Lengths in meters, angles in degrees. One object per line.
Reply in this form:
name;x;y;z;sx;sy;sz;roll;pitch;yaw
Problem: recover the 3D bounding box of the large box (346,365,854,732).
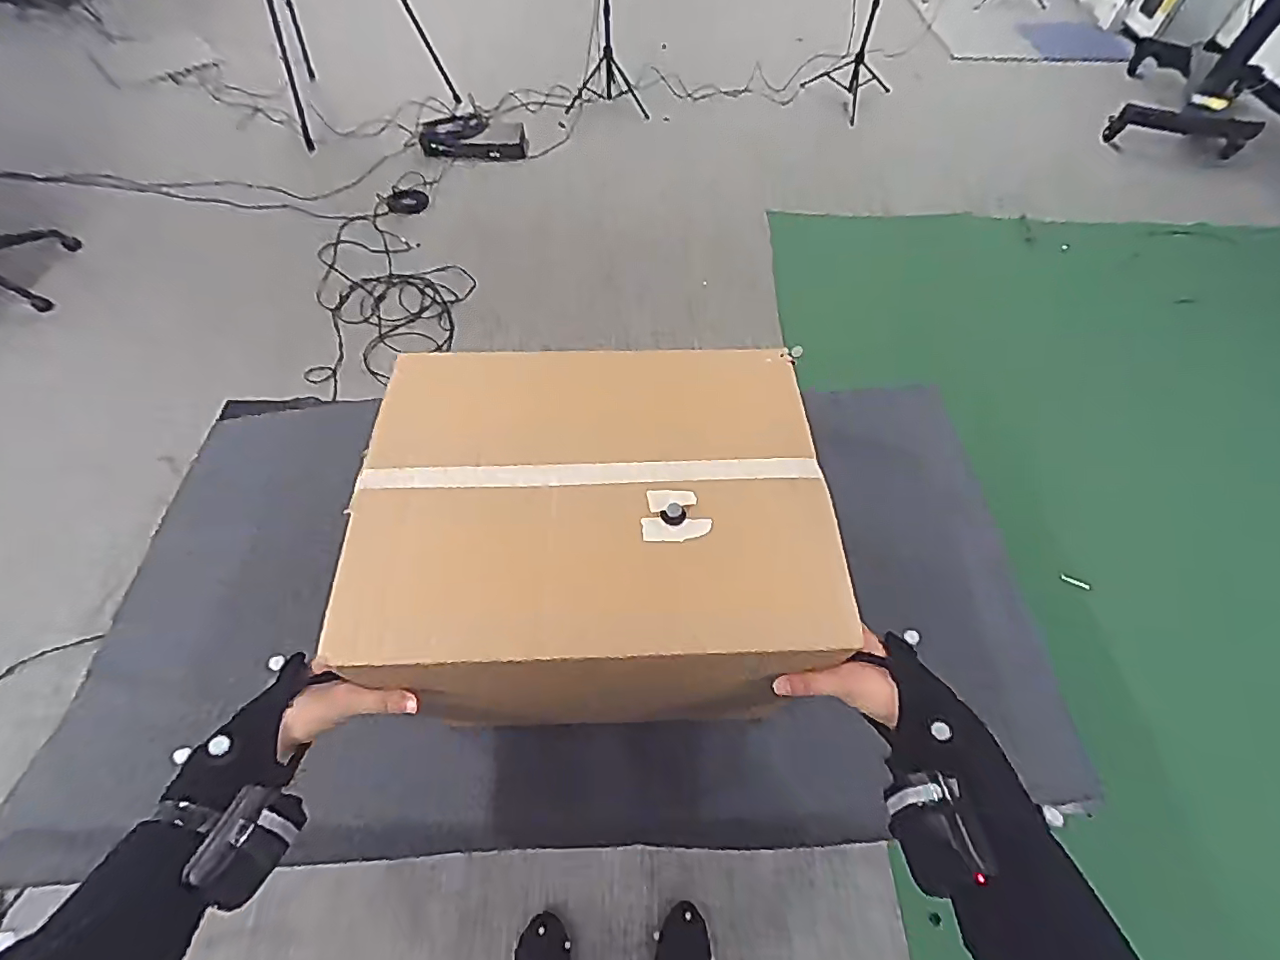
large box;-0.039;0.090;0.620;0.408;0.320;0.320;-1;58;-3
